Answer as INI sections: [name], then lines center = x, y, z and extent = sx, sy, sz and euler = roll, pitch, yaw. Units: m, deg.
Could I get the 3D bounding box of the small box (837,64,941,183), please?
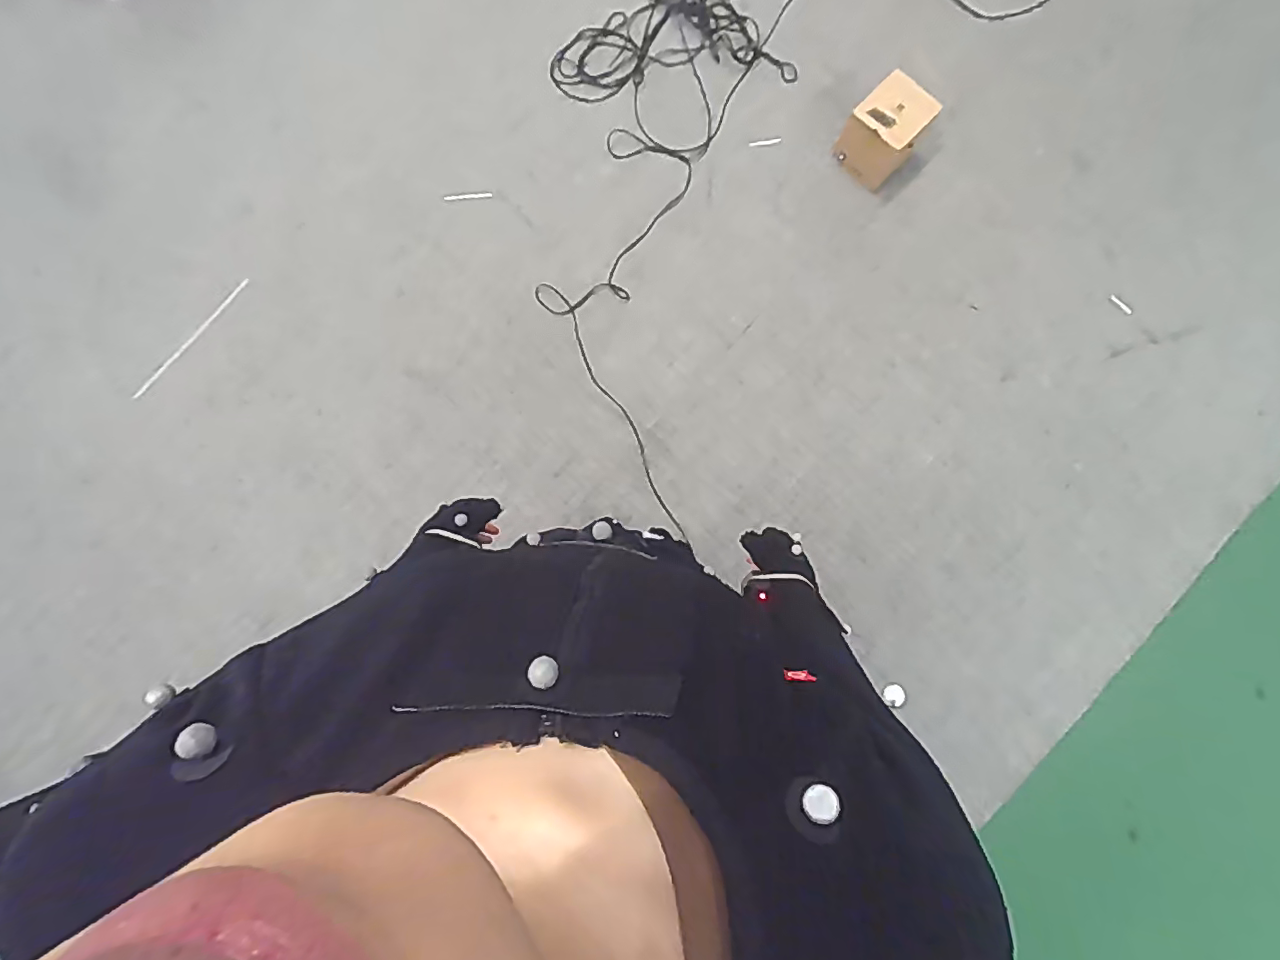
[small box]
center = 0.669, -0.967, 1.485
extent = 0.179, 0.176, 0.168
euler = -45, 85, -3
